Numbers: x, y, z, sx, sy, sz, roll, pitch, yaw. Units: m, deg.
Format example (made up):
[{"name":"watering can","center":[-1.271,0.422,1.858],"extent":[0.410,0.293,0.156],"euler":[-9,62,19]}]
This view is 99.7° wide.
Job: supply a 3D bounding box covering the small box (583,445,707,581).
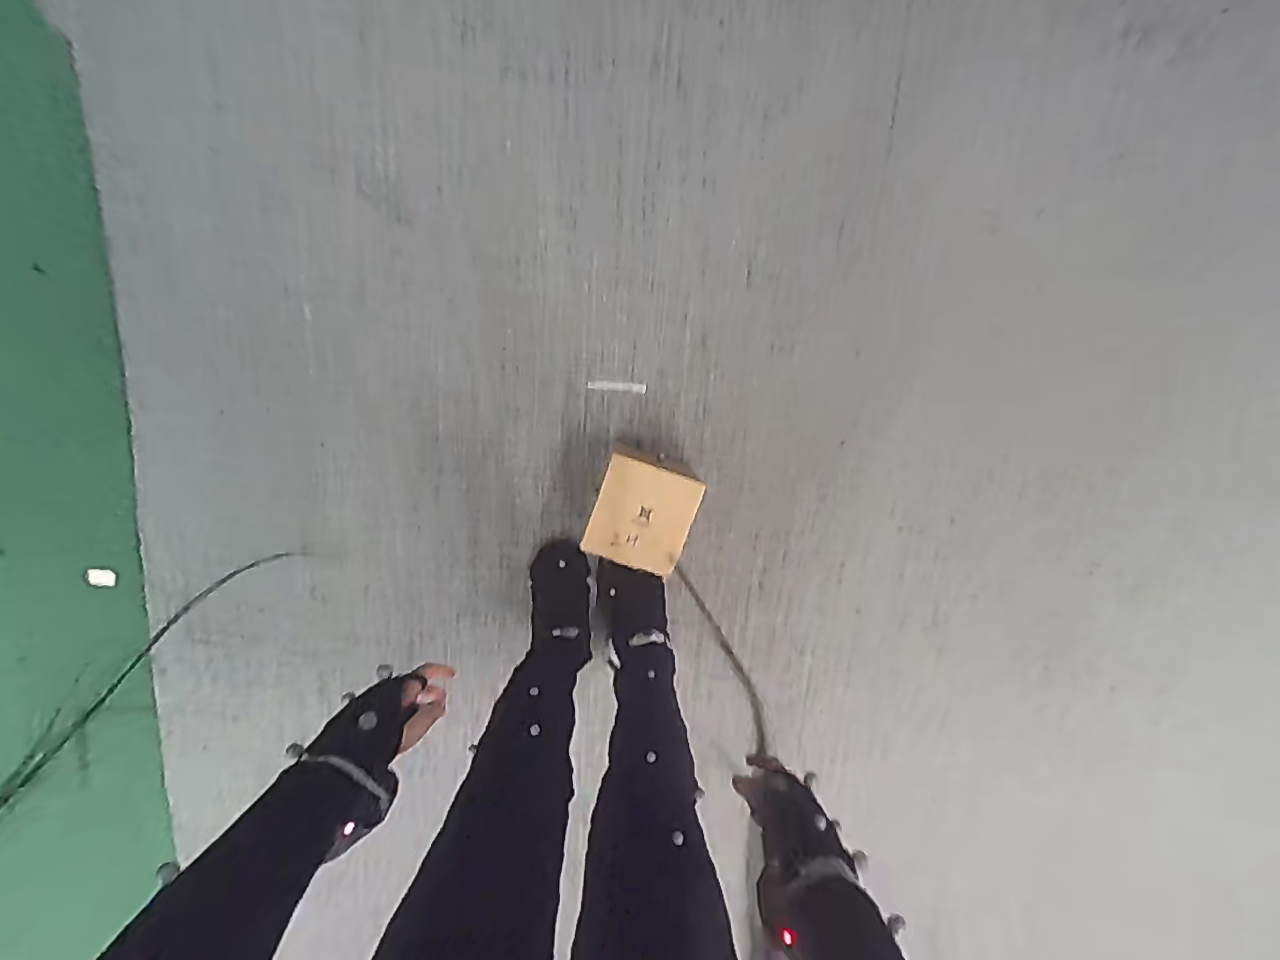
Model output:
[{"name":"small box","center":[0.003,0.050,0.975],"extent":[0.168,0.176,0.179],"euler":[18,103,-7]}]
